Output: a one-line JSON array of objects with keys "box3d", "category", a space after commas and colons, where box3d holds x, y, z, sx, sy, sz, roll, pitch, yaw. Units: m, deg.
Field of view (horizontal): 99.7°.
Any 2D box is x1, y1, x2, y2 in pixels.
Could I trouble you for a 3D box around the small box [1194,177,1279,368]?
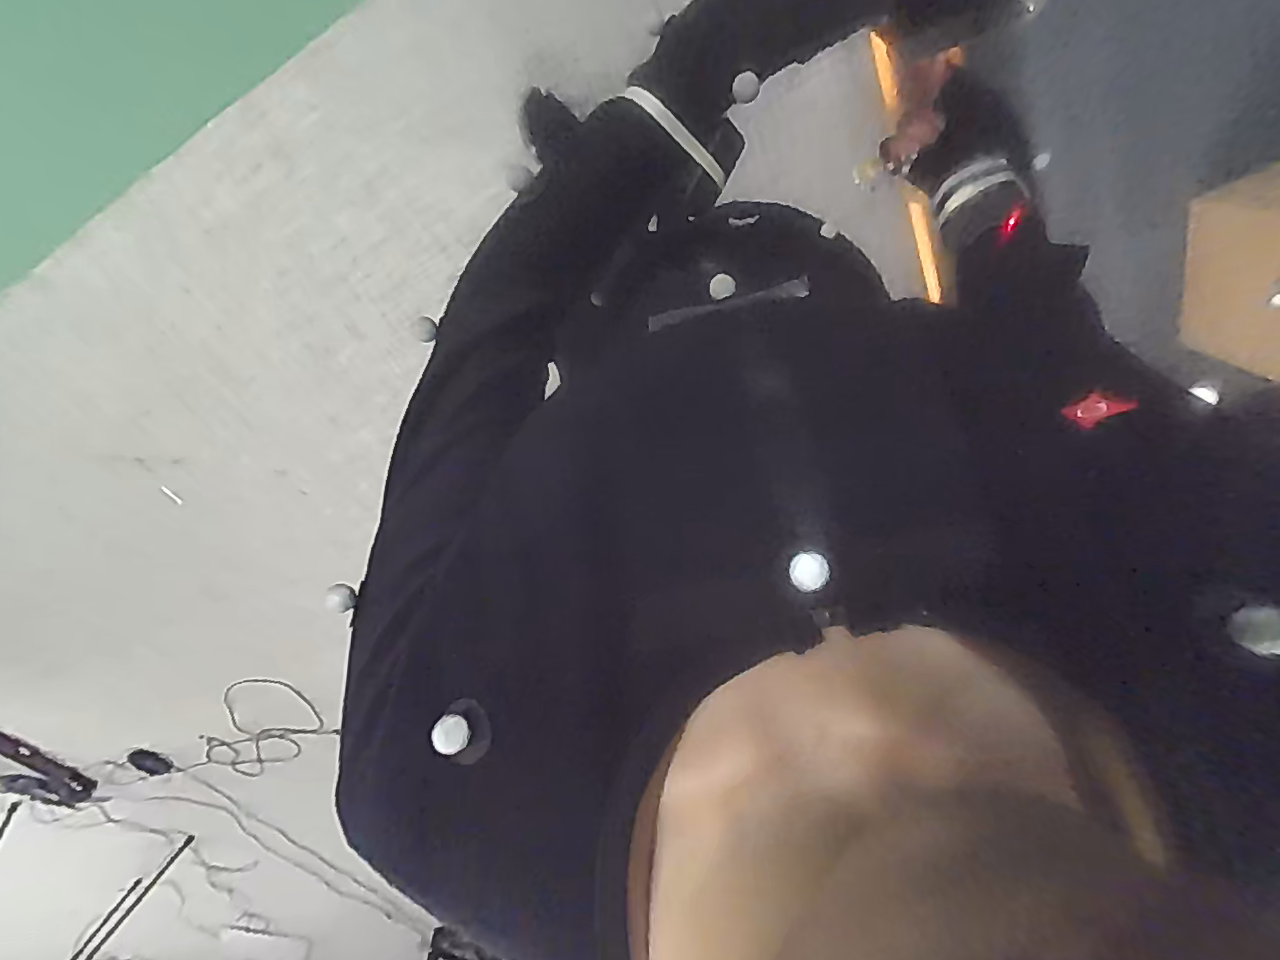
[{"box3d": [0.698, -0.212, 0.522, 0.168, 0.176, 0.179, -21, 119, 14], "category": "small box"}]
